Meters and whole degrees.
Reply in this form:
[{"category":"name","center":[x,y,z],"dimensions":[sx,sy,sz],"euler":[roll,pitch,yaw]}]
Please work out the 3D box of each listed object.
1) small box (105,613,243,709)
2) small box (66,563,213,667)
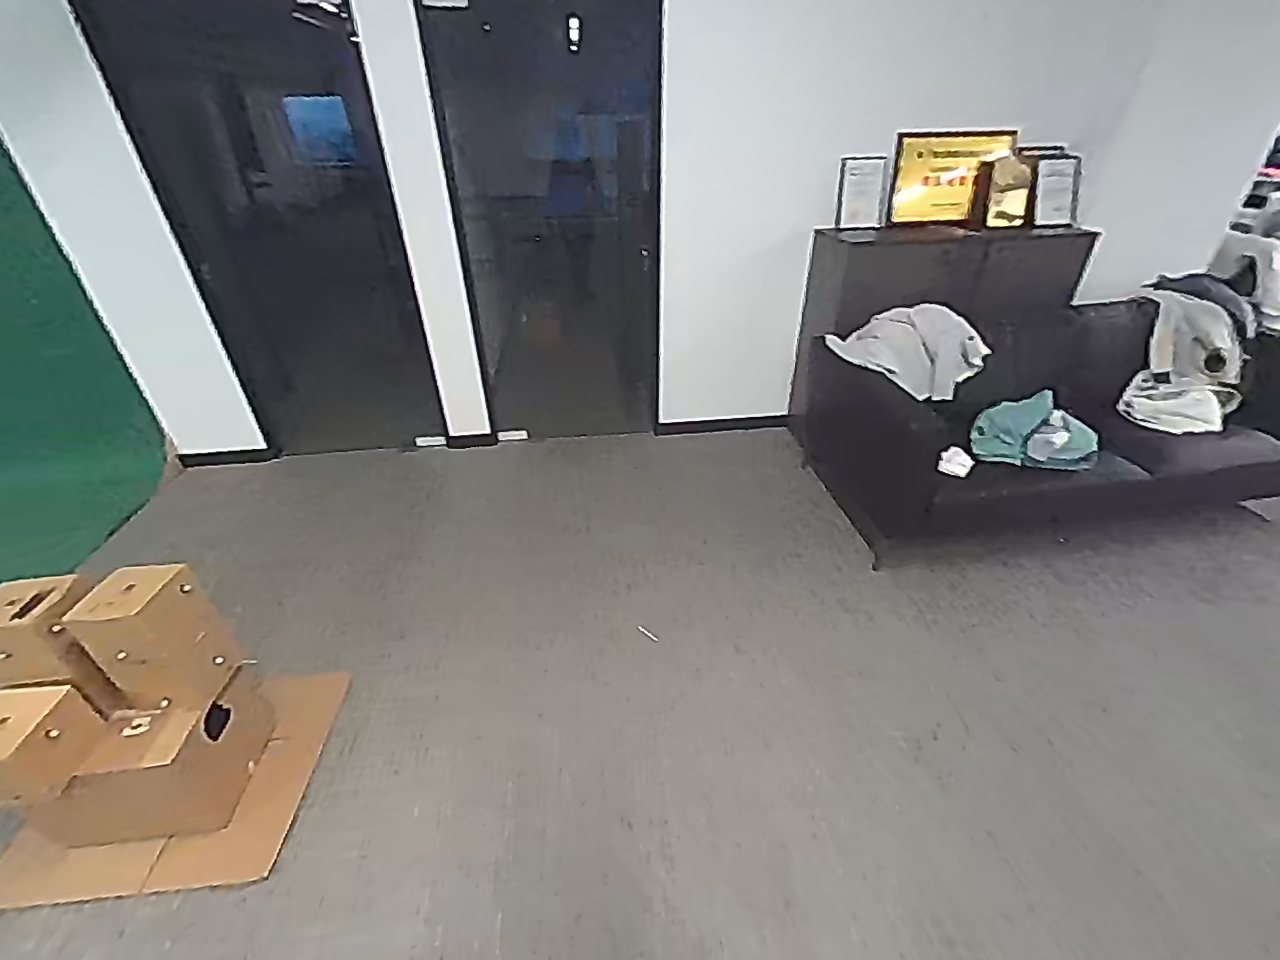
[{"category":"small box","center":[-1.171,0.461,1.379],"dimensions":[0.179,0.176,0.168],"euler":[-4,33,-1]},{"category":"small box","center":[-1.173,0.319,1.290],"dimensions":[0.168,0.176,0.179],"euler":[-3,33,0]}]
